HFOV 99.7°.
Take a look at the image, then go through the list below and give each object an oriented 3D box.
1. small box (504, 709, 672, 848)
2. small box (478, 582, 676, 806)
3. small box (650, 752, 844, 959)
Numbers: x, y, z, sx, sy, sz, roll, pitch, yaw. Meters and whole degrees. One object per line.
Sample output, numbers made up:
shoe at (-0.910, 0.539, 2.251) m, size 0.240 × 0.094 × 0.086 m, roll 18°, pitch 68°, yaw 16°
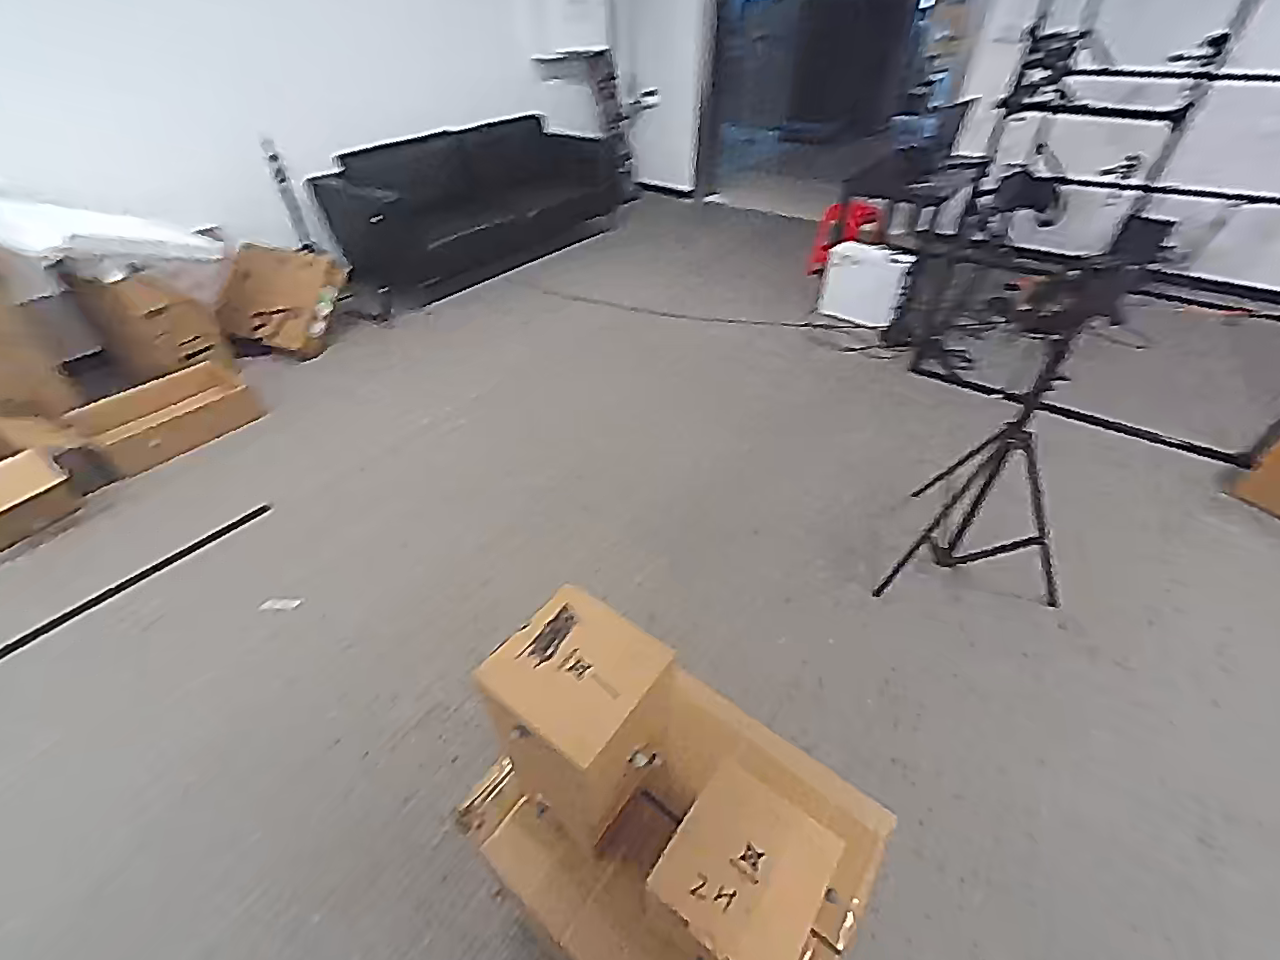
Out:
small box at (-0.070, 0.390, 0.796) m, size 0.168 × 0.176 × 0.179 m, roll 26°, pitch 50°, yaw 28°
small box at (-0.072, 0.270, 0.684) m, size 0.179 × 0.176 × 0.168 m, roll 26°, pitch 49°, yaw 27°
small box at (0.126, 0.491, 0.672) m, size 0.168 × 0.176 × 0.179 m, roll 25°, pitch 48°, yaw 29°
